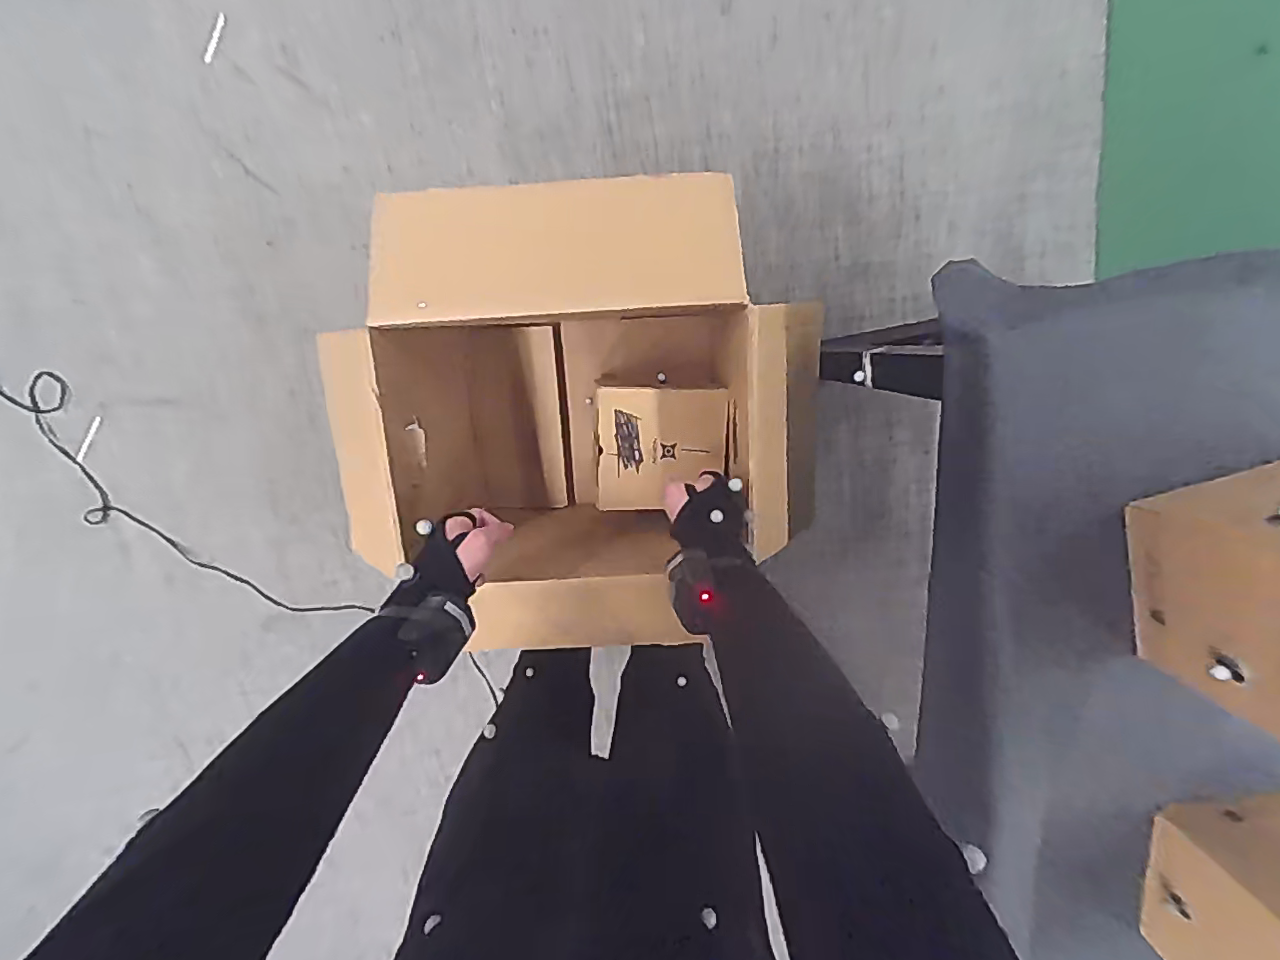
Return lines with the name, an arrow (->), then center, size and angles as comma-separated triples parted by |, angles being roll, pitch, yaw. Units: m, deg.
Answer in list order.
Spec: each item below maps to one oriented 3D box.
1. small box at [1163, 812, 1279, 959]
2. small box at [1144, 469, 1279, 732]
small box -> 0.642, 0.445, 0.496 | 0.168, 0.176, 0.179 | -7, 103, 2
small box -> 0.545, 0.097, 0.420 | 0.179, 0.176, 0.168 | -18, 104, 2
